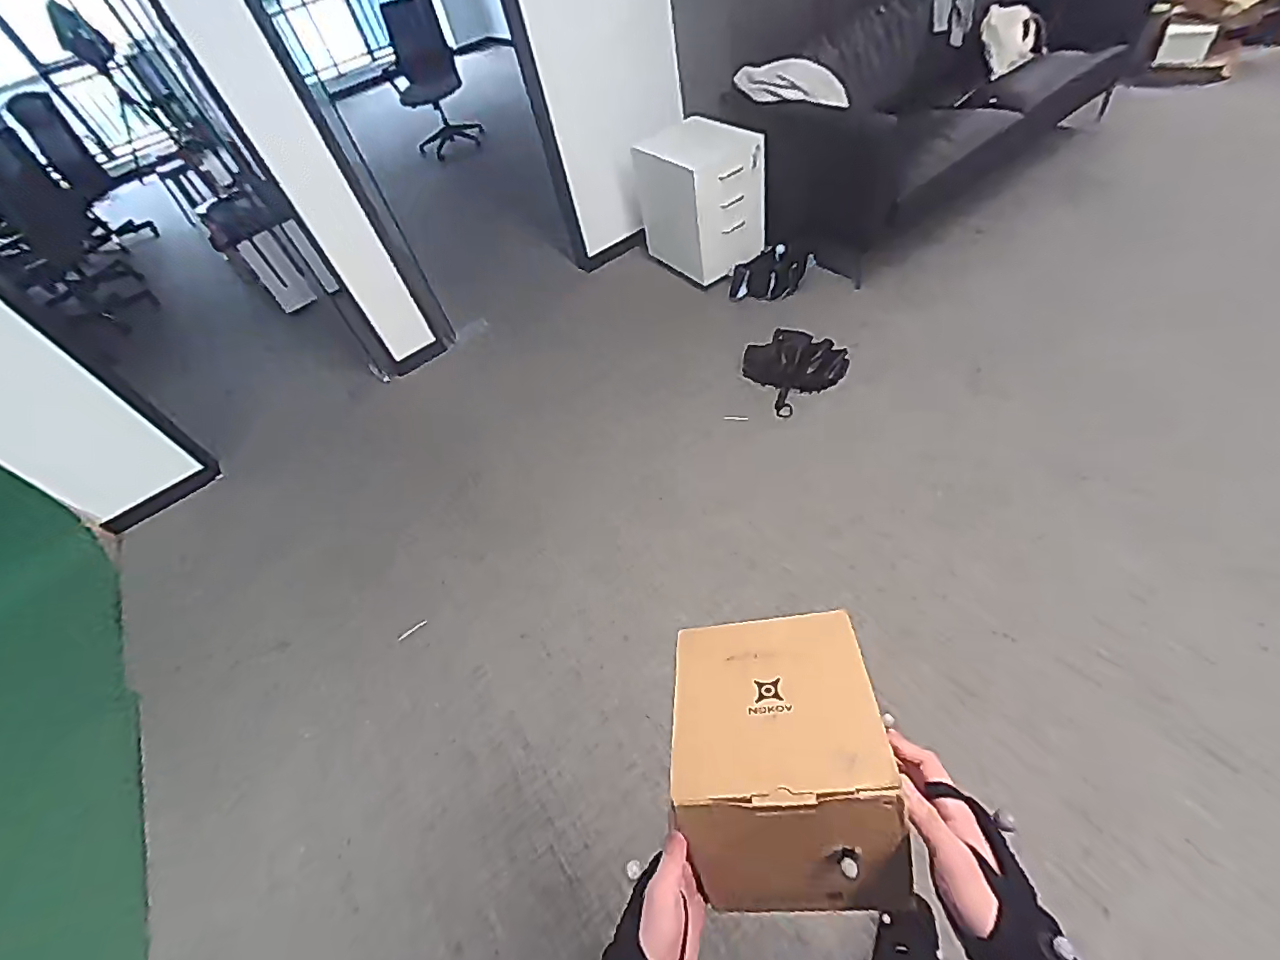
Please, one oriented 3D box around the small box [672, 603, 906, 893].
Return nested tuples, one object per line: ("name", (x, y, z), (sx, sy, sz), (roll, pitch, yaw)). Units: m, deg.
("small box", (0.130, 0.242, 0.491), (0.168, 0.176, 0.179), (-10, 28, 11))
